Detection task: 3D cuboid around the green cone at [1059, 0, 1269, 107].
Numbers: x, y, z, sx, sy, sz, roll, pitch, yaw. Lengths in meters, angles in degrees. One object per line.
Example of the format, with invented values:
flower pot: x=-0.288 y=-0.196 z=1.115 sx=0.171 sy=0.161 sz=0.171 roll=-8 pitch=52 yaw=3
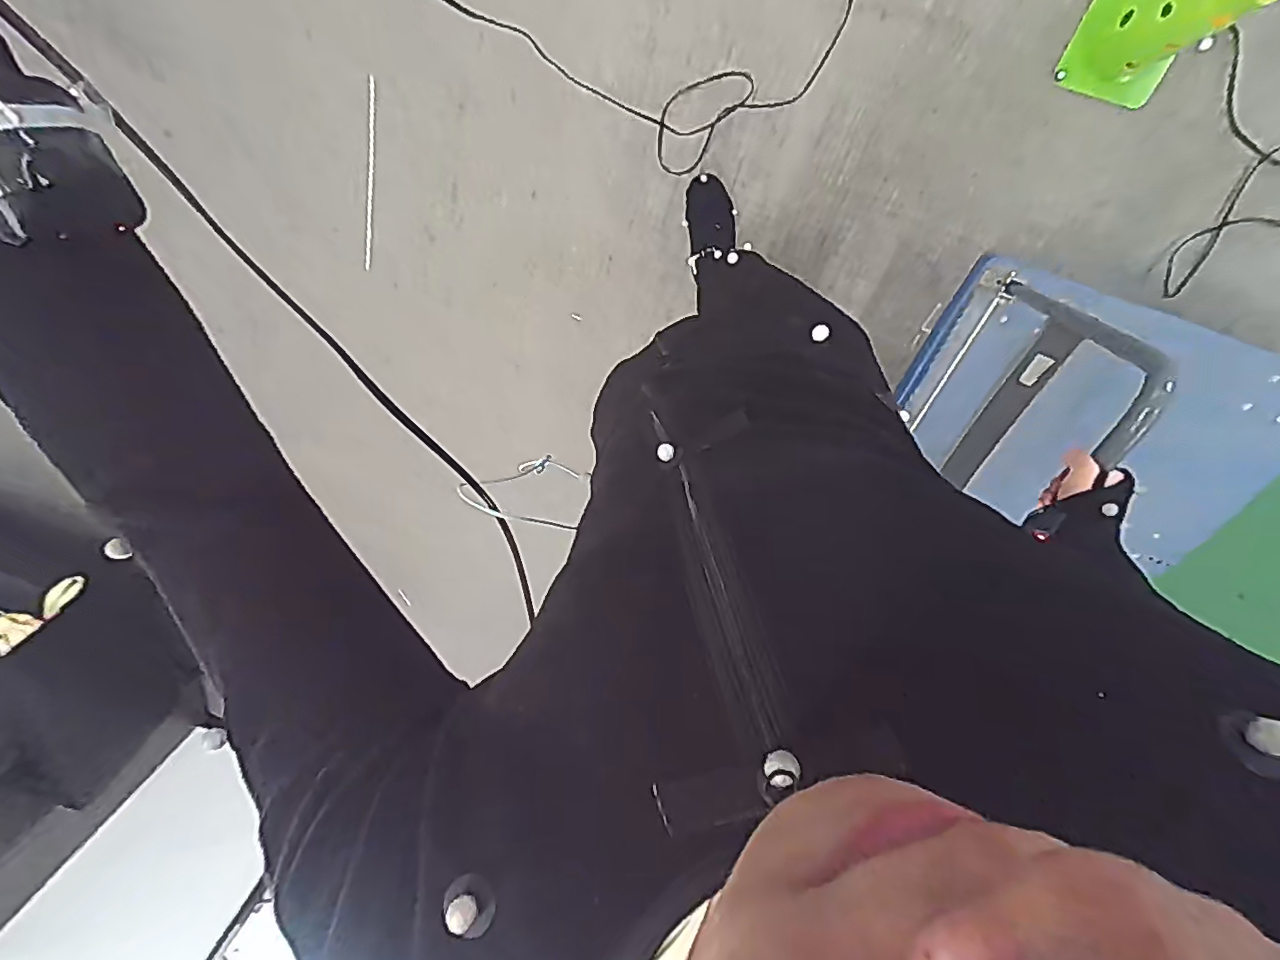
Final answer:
green cone: x=0.936 y=-0.782 z=0.904 sx=0.200 sy=0.368 sz=0.202 roll=17 pitch=120 yaw=1
